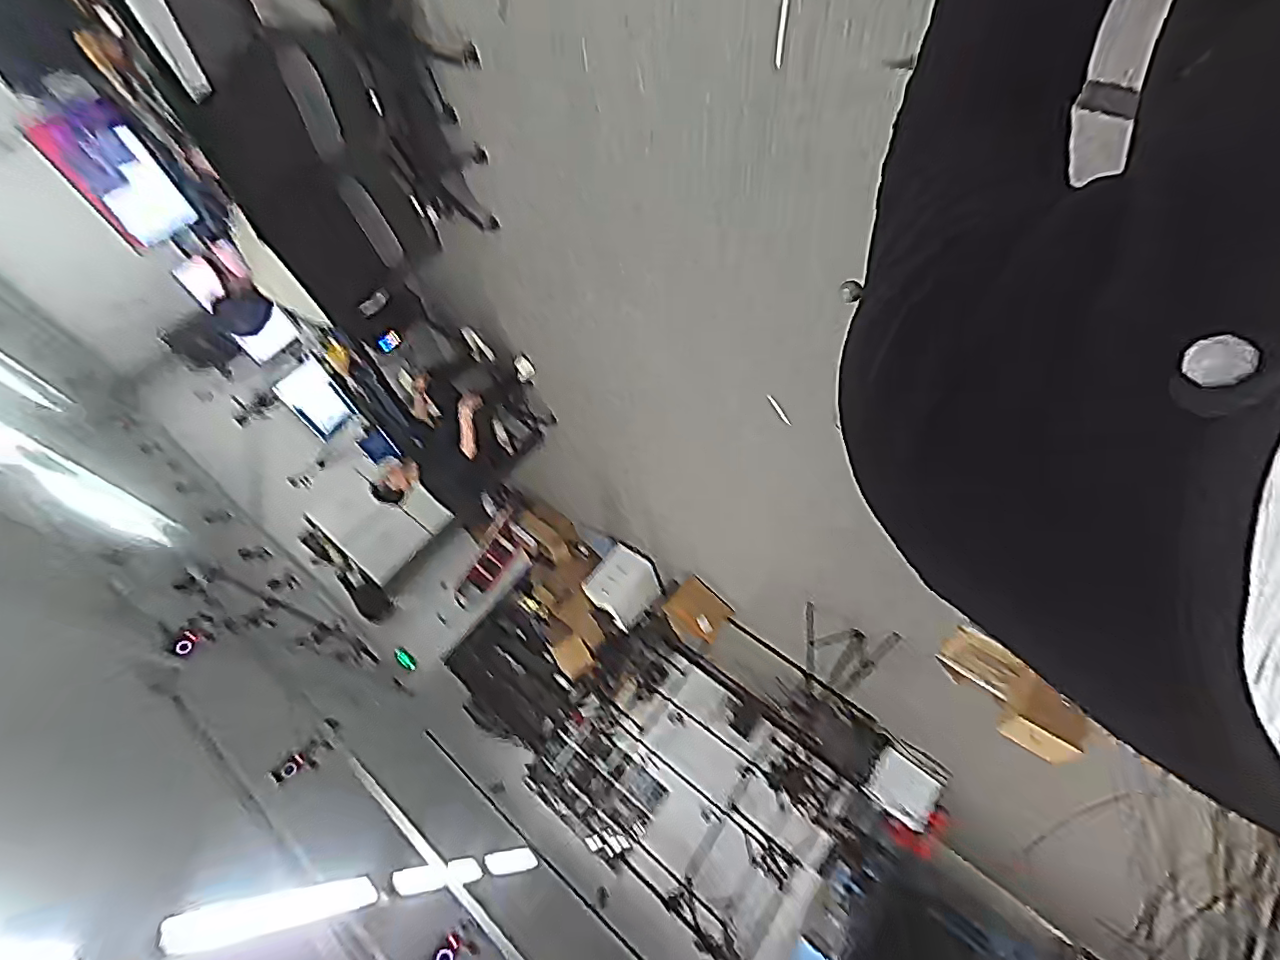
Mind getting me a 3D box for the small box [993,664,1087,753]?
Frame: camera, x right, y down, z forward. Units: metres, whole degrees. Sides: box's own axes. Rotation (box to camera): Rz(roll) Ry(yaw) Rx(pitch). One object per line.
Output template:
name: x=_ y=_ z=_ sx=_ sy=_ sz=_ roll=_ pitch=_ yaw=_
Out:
small box: x=1.247 y=0.710 z=1.682 sx=0.168 sy=0.176 sz=0.179 roll=28 pitch=151 yaw=26
